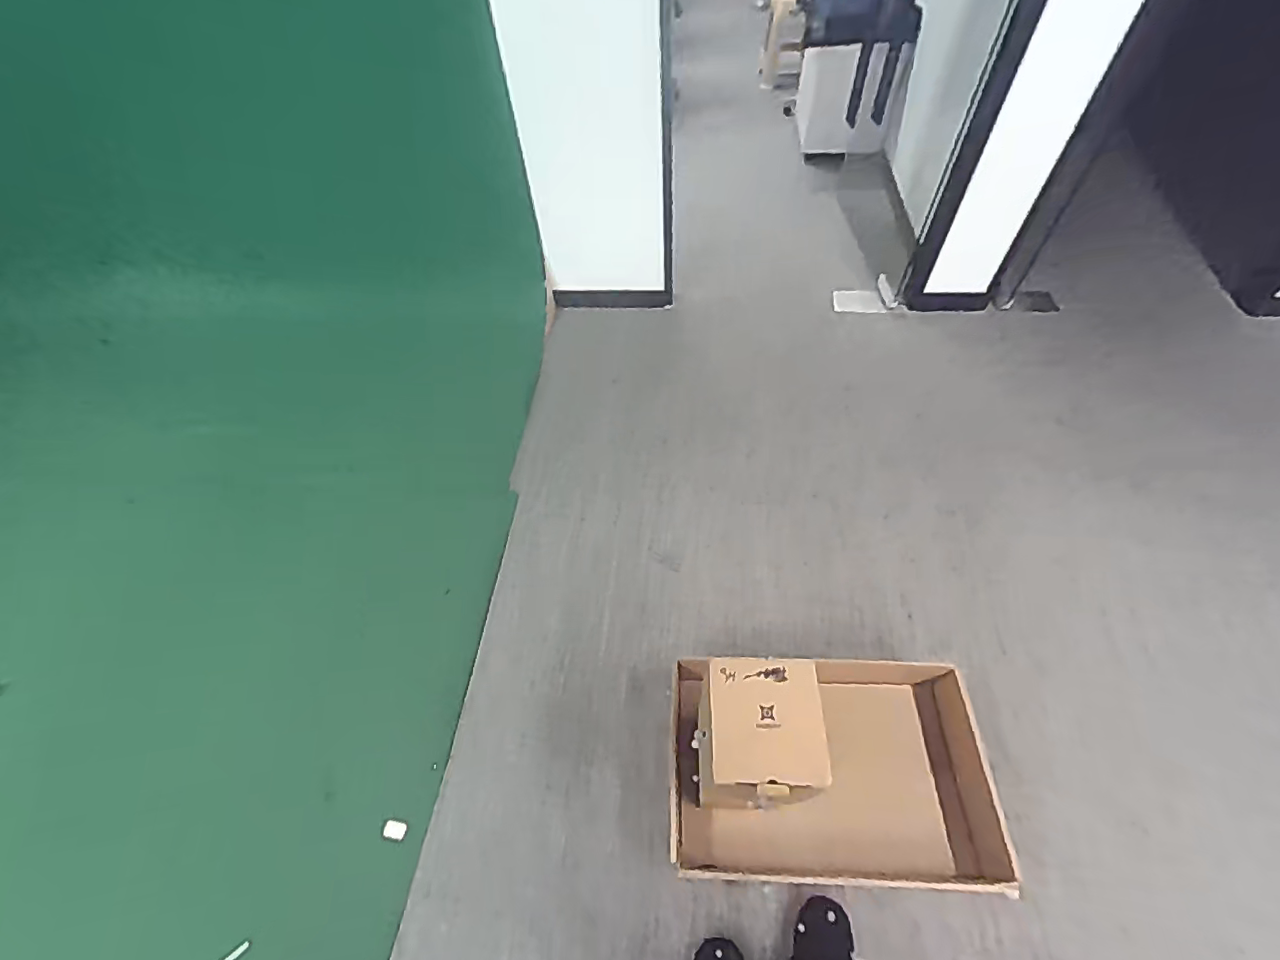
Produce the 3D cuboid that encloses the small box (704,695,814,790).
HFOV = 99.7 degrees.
[{"bbox_3d":[0.211,0.475,1.009,0.179,0.176,0.168,0,55,4],"label":"small box"}]

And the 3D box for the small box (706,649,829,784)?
[{"bbox_3d":[0.195,0.385,0.874,0.168,0.176,0.179,0,56,4],"label":"small box"}]
